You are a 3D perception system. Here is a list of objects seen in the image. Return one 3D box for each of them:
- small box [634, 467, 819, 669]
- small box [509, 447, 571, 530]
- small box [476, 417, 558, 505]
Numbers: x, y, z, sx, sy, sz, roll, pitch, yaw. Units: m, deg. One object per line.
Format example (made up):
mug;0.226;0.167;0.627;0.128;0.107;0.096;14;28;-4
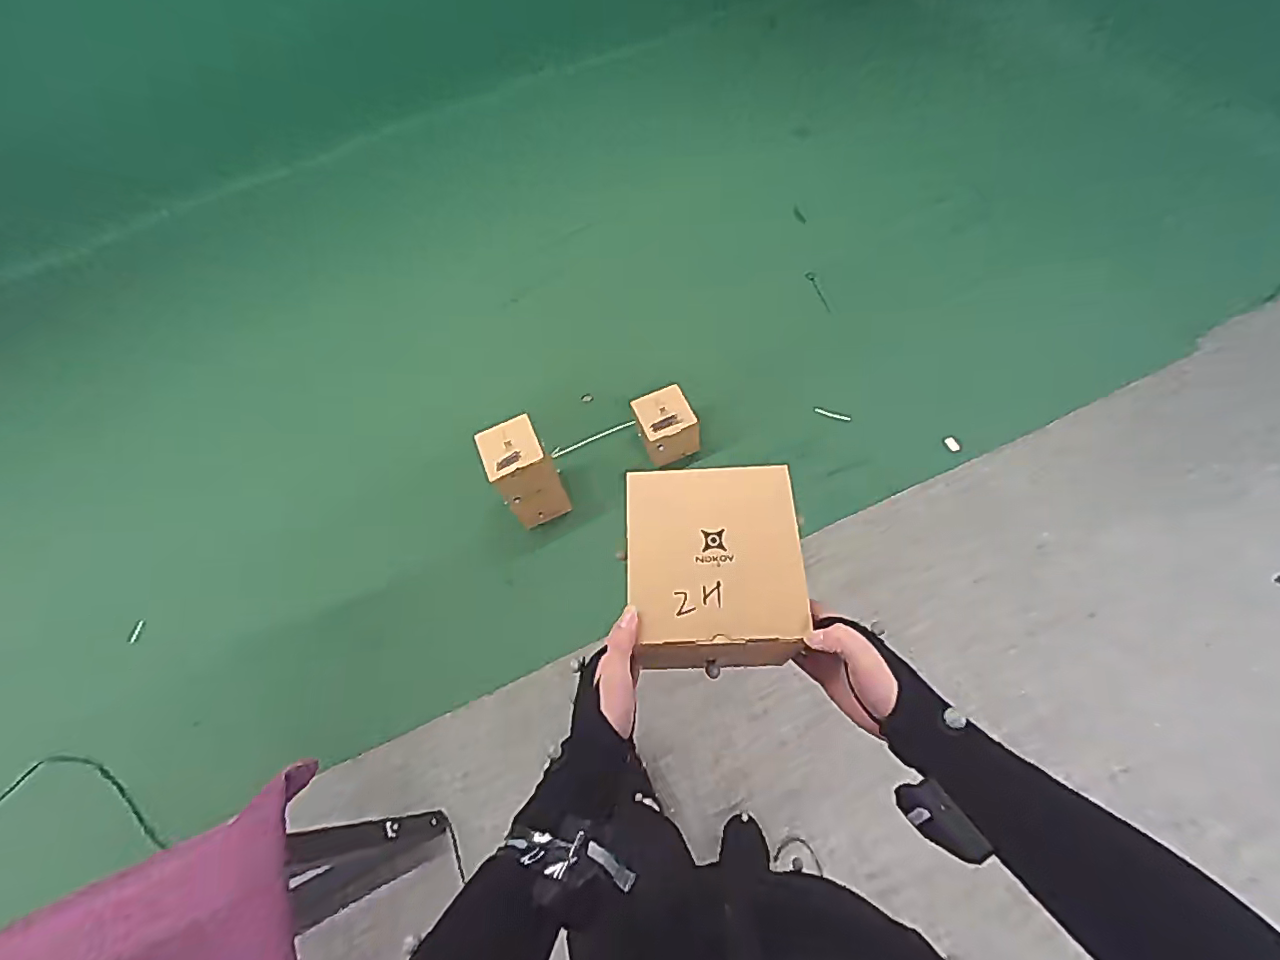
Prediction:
small box;0.080;0.101;0.582;0.168;0.176;0.179;-2;64;3
small box;-0.338;0.031;1.739;0.168;0.176;0.179;-24;61;-5
small box;-0.359;-0.047;1.596;0.168;0.176;0.179;-24;60;-6
